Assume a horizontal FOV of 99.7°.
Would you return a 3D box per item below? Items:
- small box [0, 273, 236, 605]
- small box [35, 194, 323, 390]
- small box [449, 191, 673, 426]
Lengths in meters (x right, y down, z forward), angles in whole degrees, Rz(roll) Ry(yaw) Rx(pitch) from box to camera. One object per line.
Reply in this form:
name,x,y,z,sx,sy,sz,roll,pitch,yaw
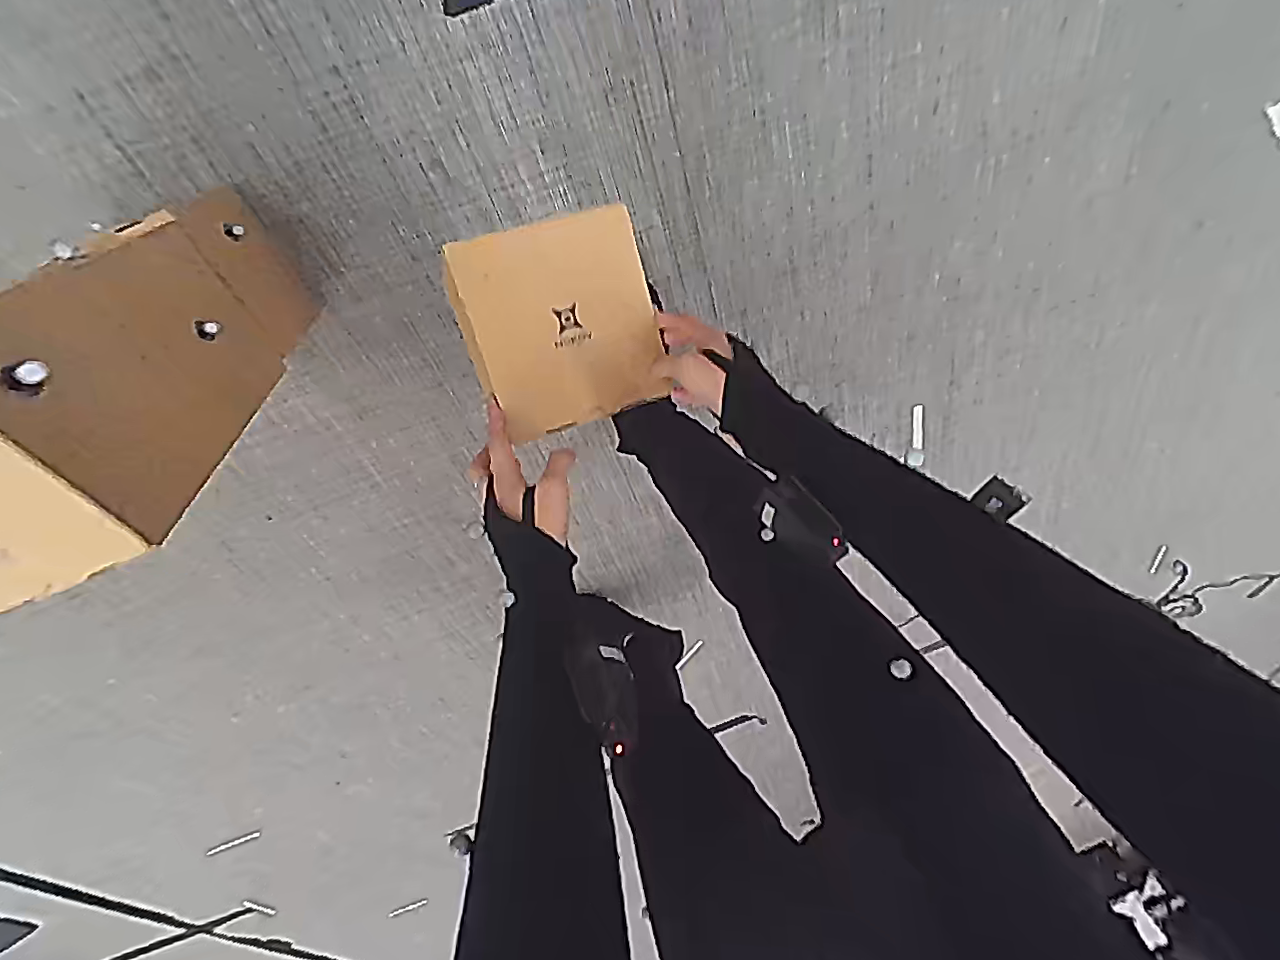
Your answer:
small box,-0.468,-0.037,0.410,0.168,0.176,0.179,-22,129,2
small box,-0.535,-0.231,0.664,0.168,0.176,0.179,-21,128,3
small box,-0.090,-0.167,0.560,0.168,0.176,0.179,-21,107,-15
